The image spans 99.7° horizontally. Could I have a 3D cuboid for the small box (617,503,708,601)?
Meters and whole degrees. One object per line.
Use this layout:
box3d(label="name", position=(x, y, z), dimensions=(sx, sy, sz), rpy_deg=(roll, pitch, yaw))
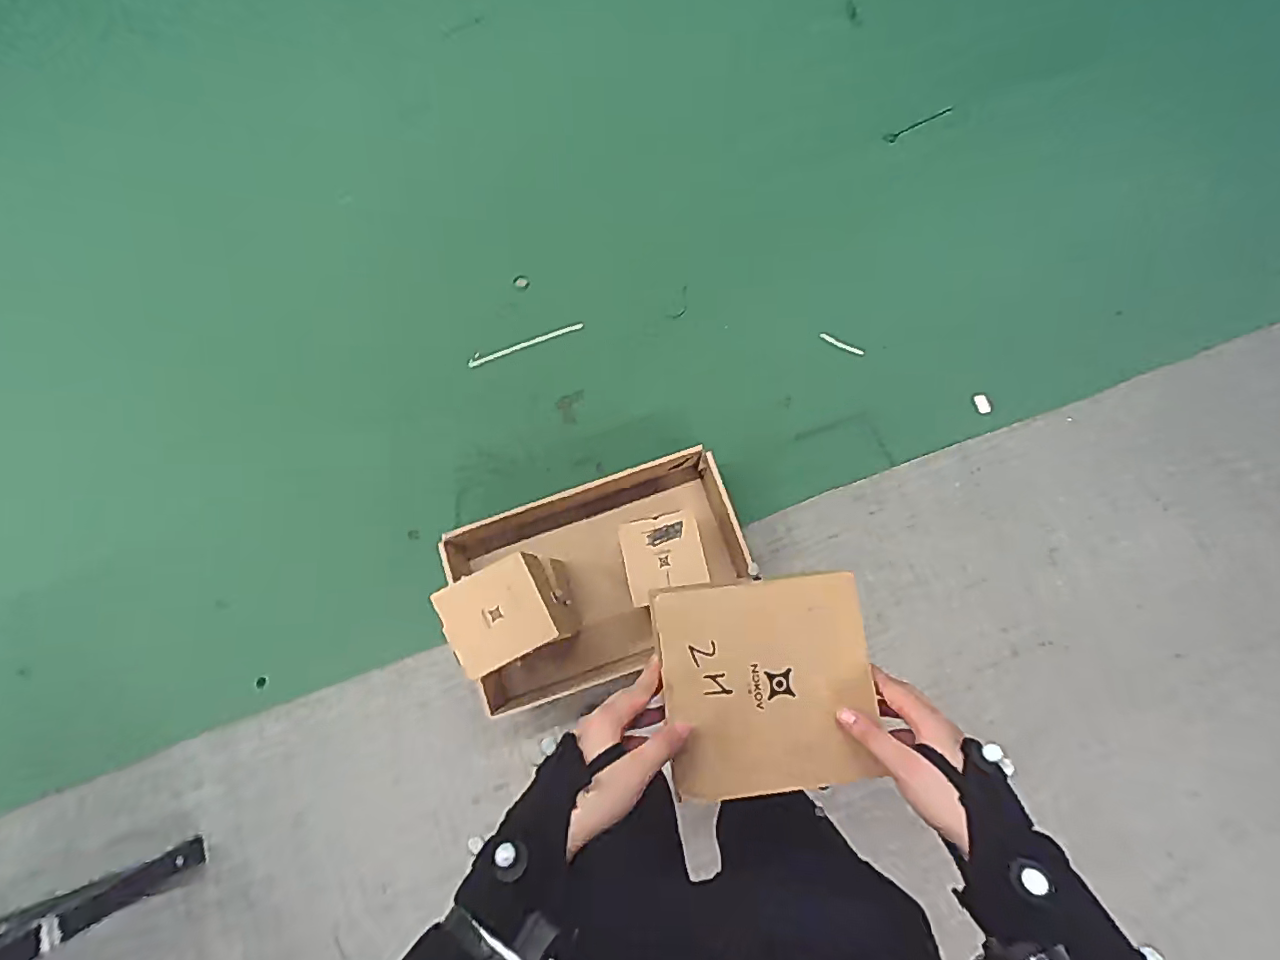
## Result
box3d(label="small box", position=(0.047, 0.159, 1.179), dimensions=(0.168, 0.176, 0.179), rpy_deg=(-12, 81, 0))

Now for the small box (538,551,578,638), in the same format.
box3d(label="small box", position=(-0.246, 0.259, 1.167), dimensions=(0.179, 0.176, 0.168), rpy_deg=(-17, 81, -1))

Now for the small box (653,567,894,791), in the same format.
box3d(label="small box", position=(0.111, 0.174, 0.525), dimensions=(0.179, 0.176, 0.168), rpy_deg=(-6, 80, -2))

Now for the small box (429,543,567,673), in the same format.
box3d(label="small box", position=(-0.253, 0.233, 1.005), dimensions=(0.179, 0.176, 0.168), rpy_deg=(-27, 82, -6))
